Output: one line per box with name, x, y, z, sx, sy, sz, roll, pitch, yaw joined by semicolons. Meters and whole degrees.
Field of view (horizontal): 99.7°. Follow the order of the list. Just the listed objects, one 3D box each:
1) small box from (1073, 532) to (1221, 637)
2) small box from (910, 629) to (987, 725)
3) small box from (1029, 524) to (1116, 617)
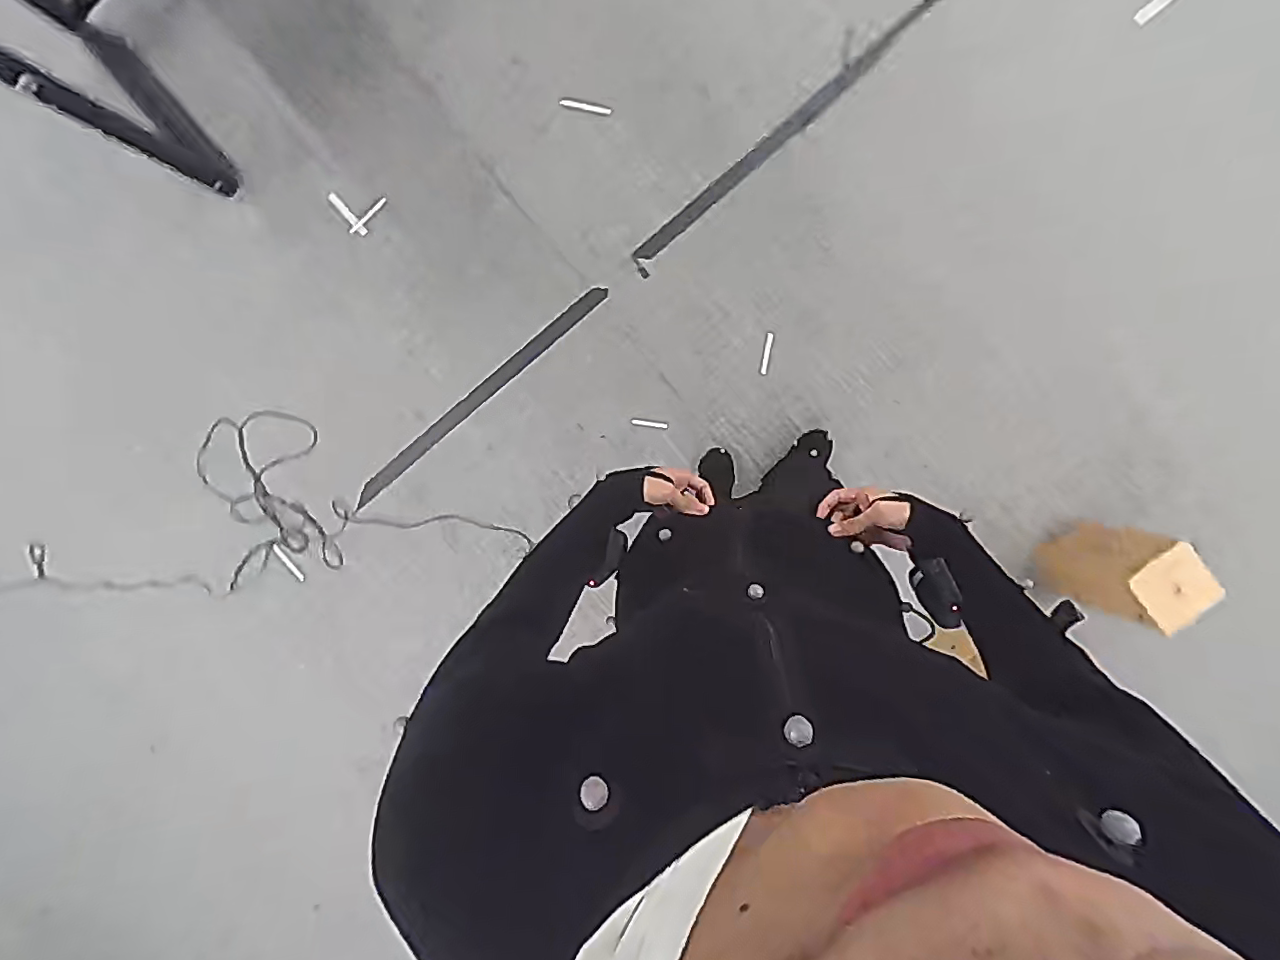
small box;1.255;0.253;1.352;0.168;0.176;0.179;-38;93;4
small box;0.925;0.556;1.559;0.168;0.176;0.179;-42;94;5
small box;1.257;0.245;1.516;0.168;0.176;0.179;-38;94;4
